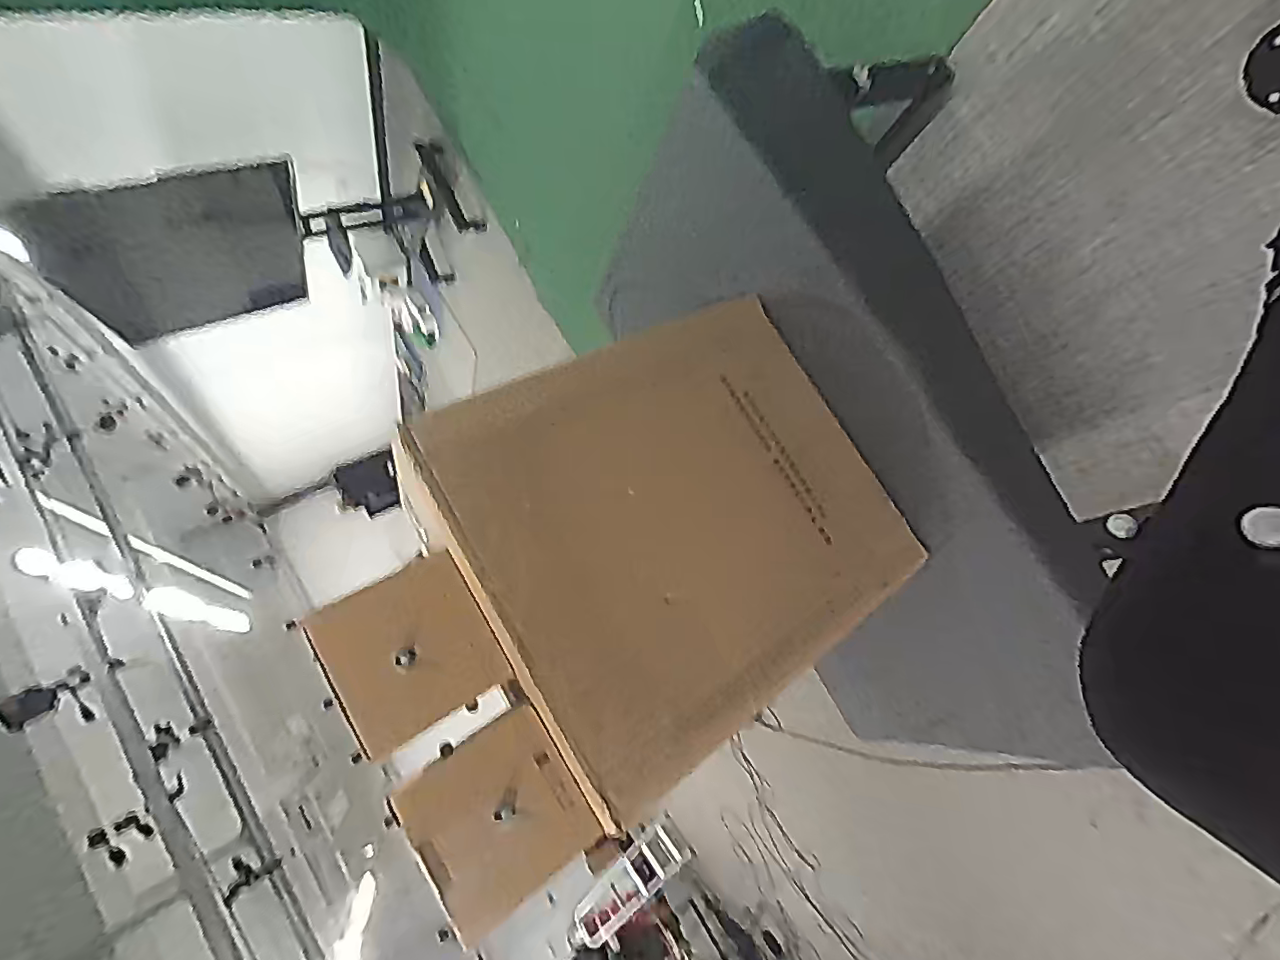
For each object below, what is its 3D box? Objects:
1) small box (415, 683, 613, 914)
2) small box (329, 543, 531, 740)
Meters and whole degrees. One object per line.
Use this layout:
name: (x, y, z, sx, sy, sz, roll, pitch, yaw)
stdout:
small box: (-0.155, 0.371, 0.665, 0.168, 0.176, 0.179, 54, 150, 11)
small box: (-0.264, 0.197, 0.690, 0.179, 0.176, 0.168, 59, 151, 7)
